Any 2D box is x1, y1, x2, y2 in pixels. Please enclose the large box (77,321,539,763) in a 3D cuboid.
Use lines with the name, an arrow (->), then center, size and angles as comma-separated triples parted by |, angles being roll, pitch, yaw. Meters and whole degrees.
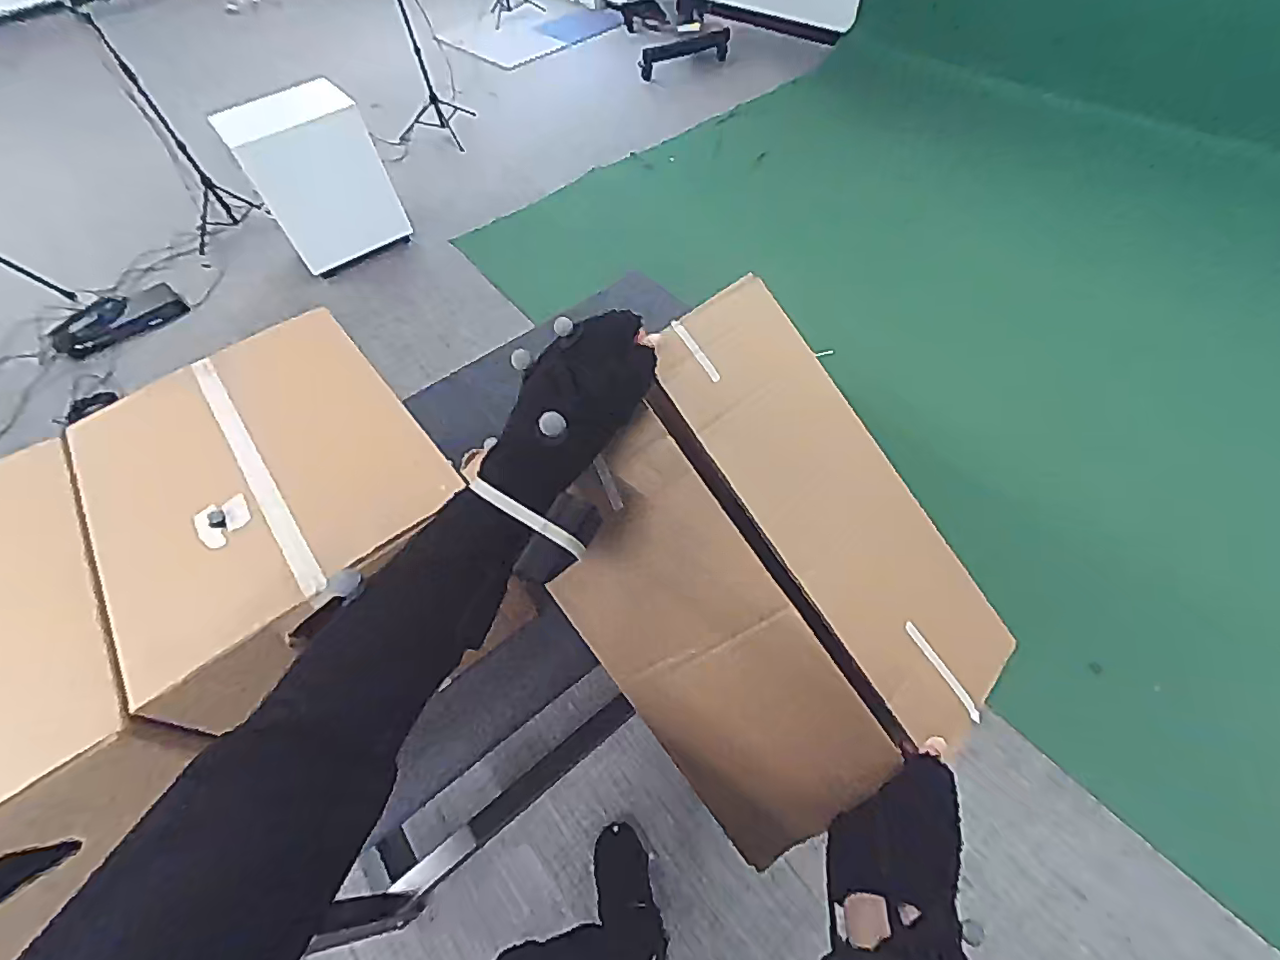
large box -> -0.391, 0.072, 0.697 | 0.320, 0.320, 0.408 | -37, 60, -18
